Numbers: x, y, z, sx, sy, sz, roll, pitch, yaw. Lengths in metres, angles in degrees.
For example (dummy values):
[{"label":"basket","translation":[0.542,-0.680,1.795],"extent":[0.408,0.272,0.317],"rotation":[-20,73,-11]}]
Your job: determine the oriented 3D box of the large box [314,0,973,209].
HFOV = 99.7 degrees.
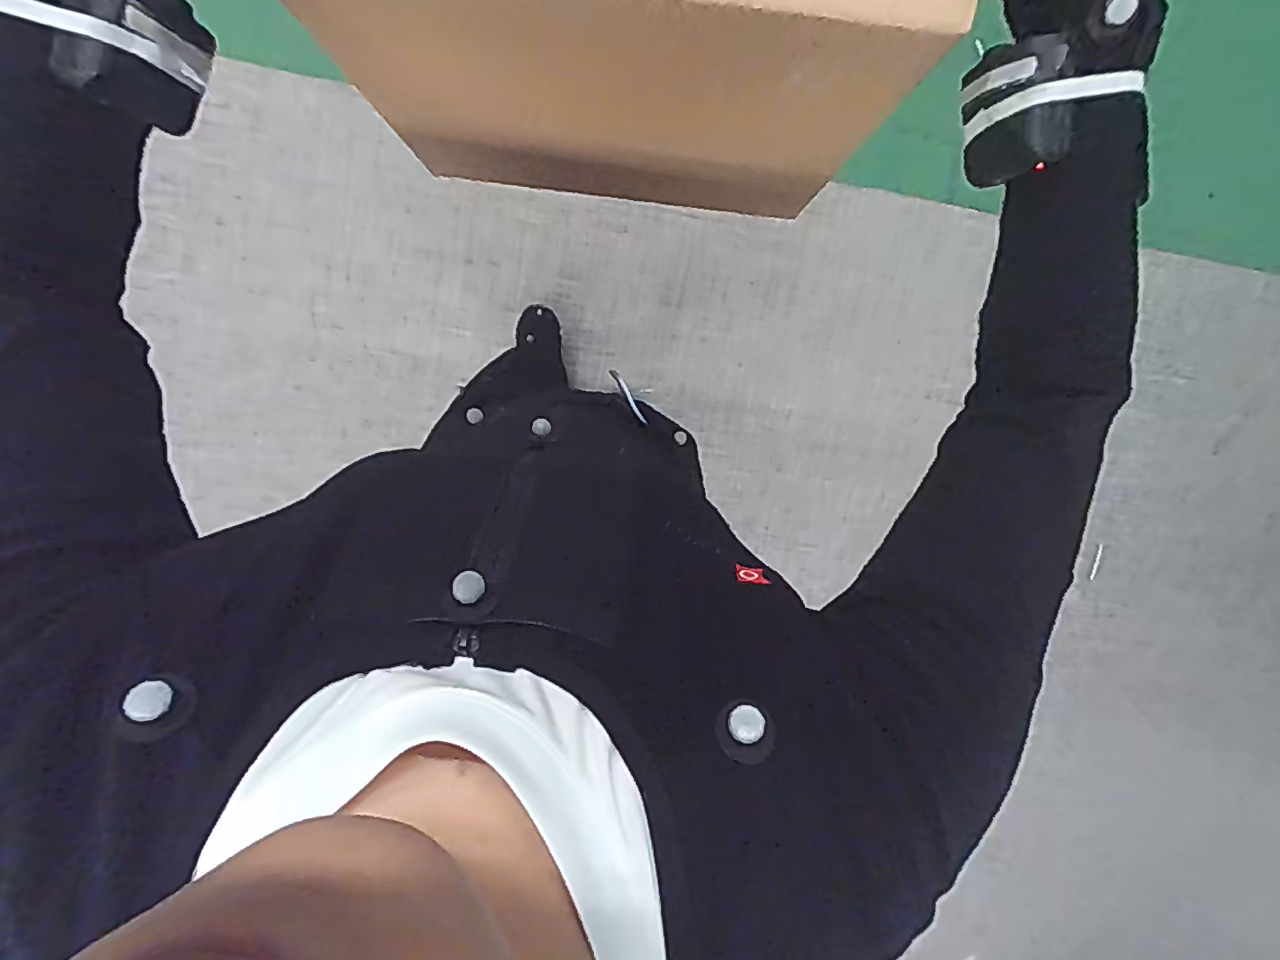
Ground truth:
[{"label":"large box","translation":[-0.002,-0.444,0.429],"extent":[0.408,0.320,0.320],"rotation":[5,99,-3]}]
